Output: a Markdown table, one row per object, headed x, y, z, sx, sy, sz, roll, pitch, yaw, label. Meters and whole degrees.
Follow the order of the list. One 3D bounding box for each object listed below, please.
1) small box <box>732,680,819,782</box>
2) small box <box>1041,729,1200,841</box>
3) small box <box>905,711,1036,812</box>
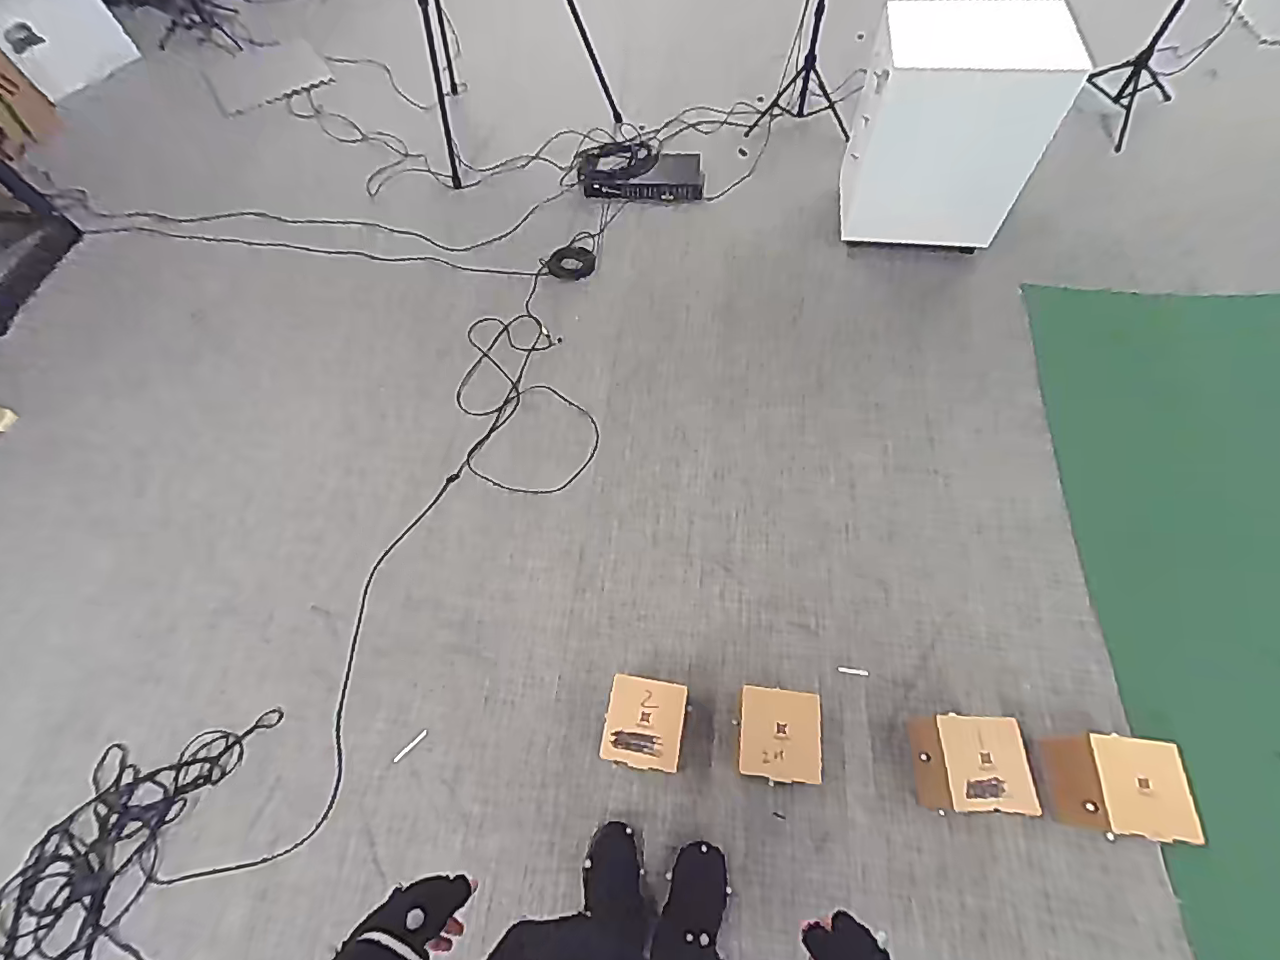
| x | y | z | sx | sy | sz | roll | pitch | yaw | label |
| --- | --- | --- | --- | --- | --- | --- | --- | --- | --- |
| 0.296 | 0.559 | 1.201 | 0.168 | 0.176 | 0.179 | 5 | 63 | 7 | small box |
| 0.984 | 0.631 | 1.129 | 0.168 | 0.176 | 0.179 | 4 | 62 | 6 | small box |
| 0.694 | 0.602 | 1.159 | 0.168 | 0.176 | 0.179 | 1 | 61 | 3 | small box |
